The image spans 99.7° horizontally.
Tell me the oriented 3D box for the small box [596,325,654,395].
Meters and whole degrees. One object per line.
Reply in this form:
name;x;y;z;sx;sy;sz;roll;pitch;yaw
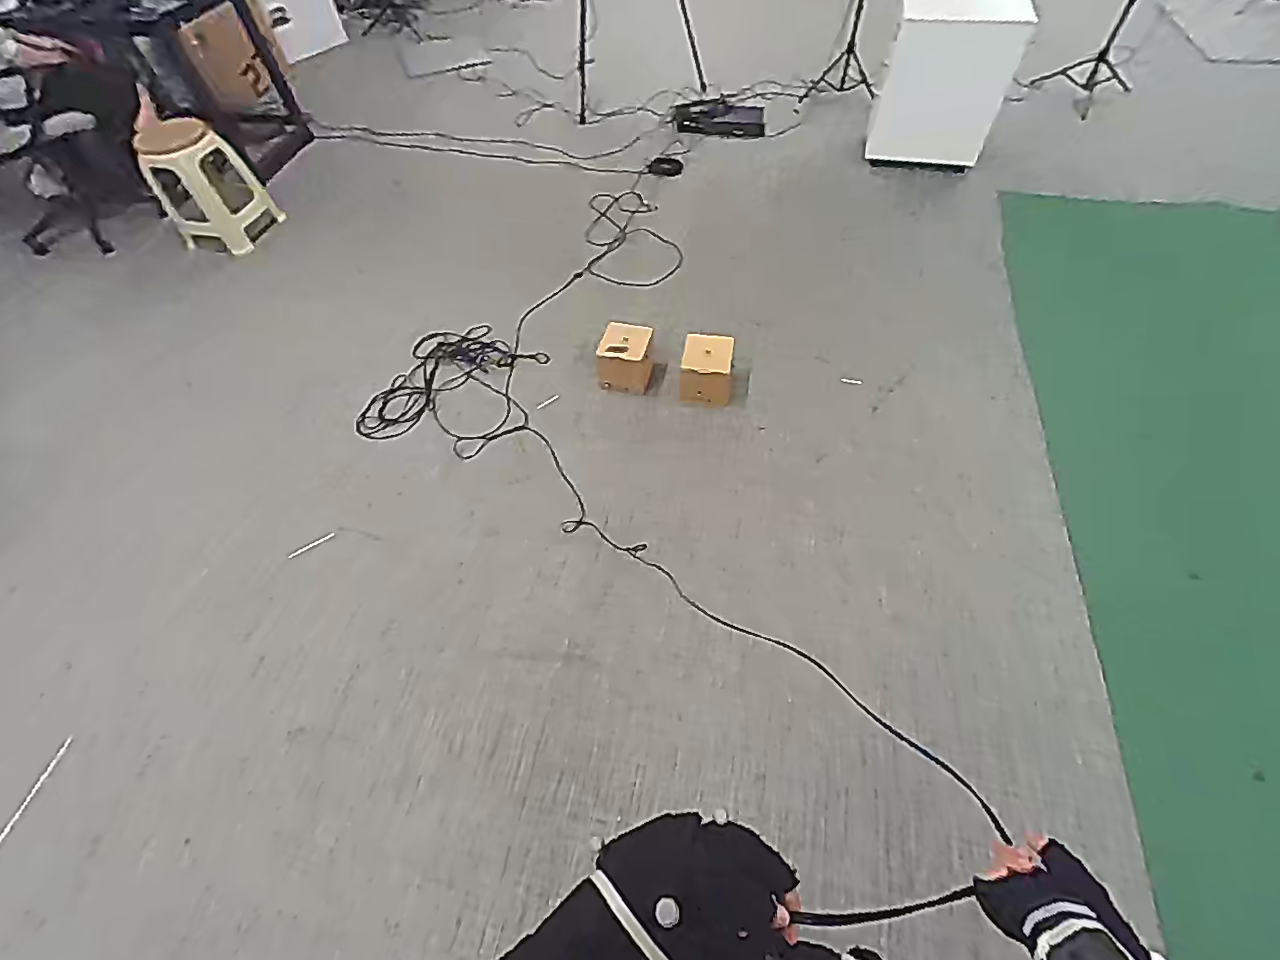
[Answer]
small box;-0.046;-0.430;1.959;0.168;0.176;0.179;11;57;11

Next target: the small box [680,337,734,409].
small box;0.235;-0.377;1.908;0.168;0.176;0.179;7;57;8
